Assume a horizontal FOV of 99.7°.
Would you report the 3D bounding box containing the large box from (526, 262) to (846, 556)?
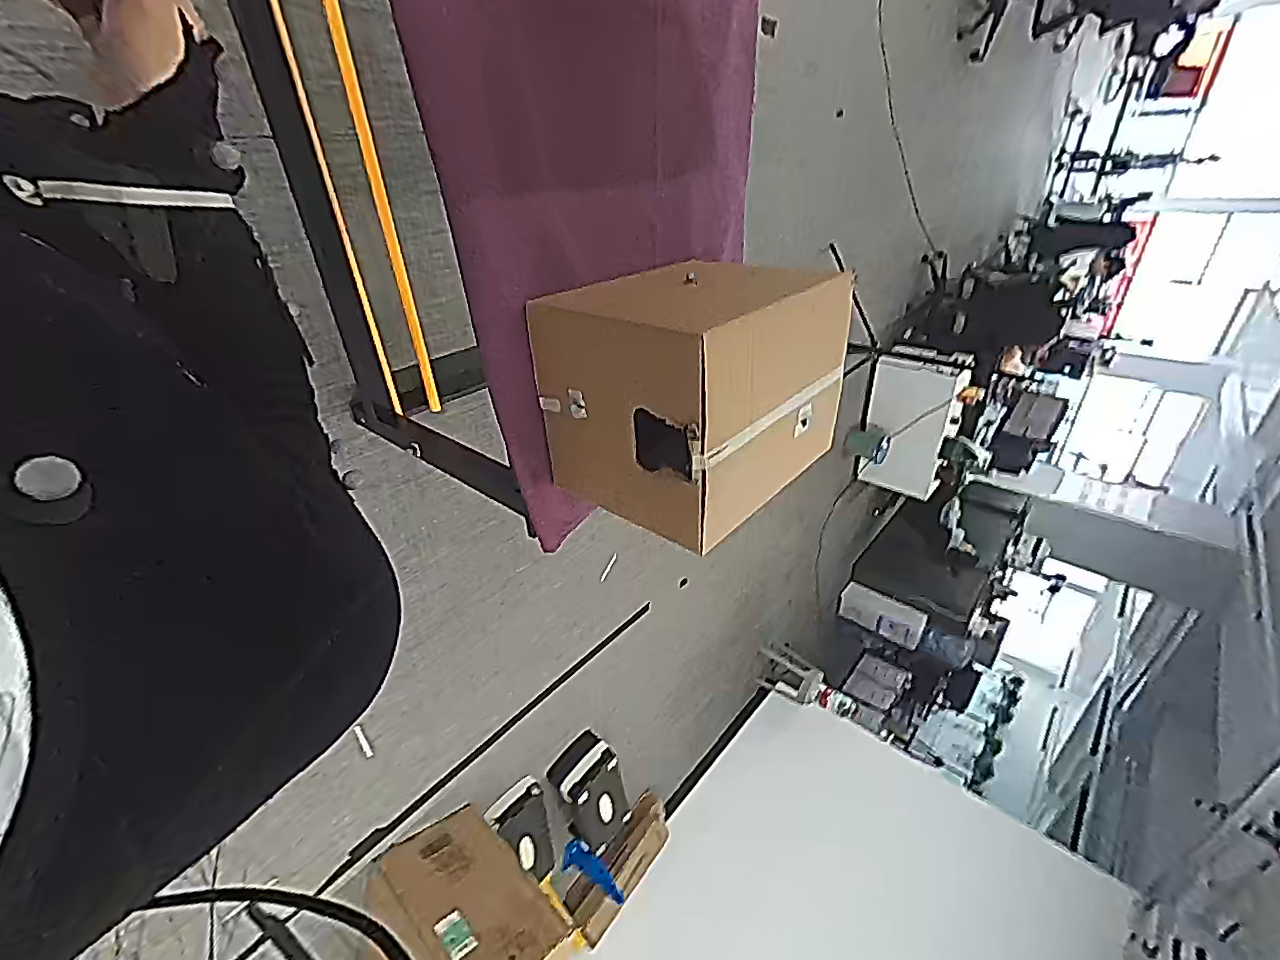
[{"bbox_3d":[0.085,-0.150,0.872,0.408,0.320,0.320,-33,133,-40],"label":"large box"}]
